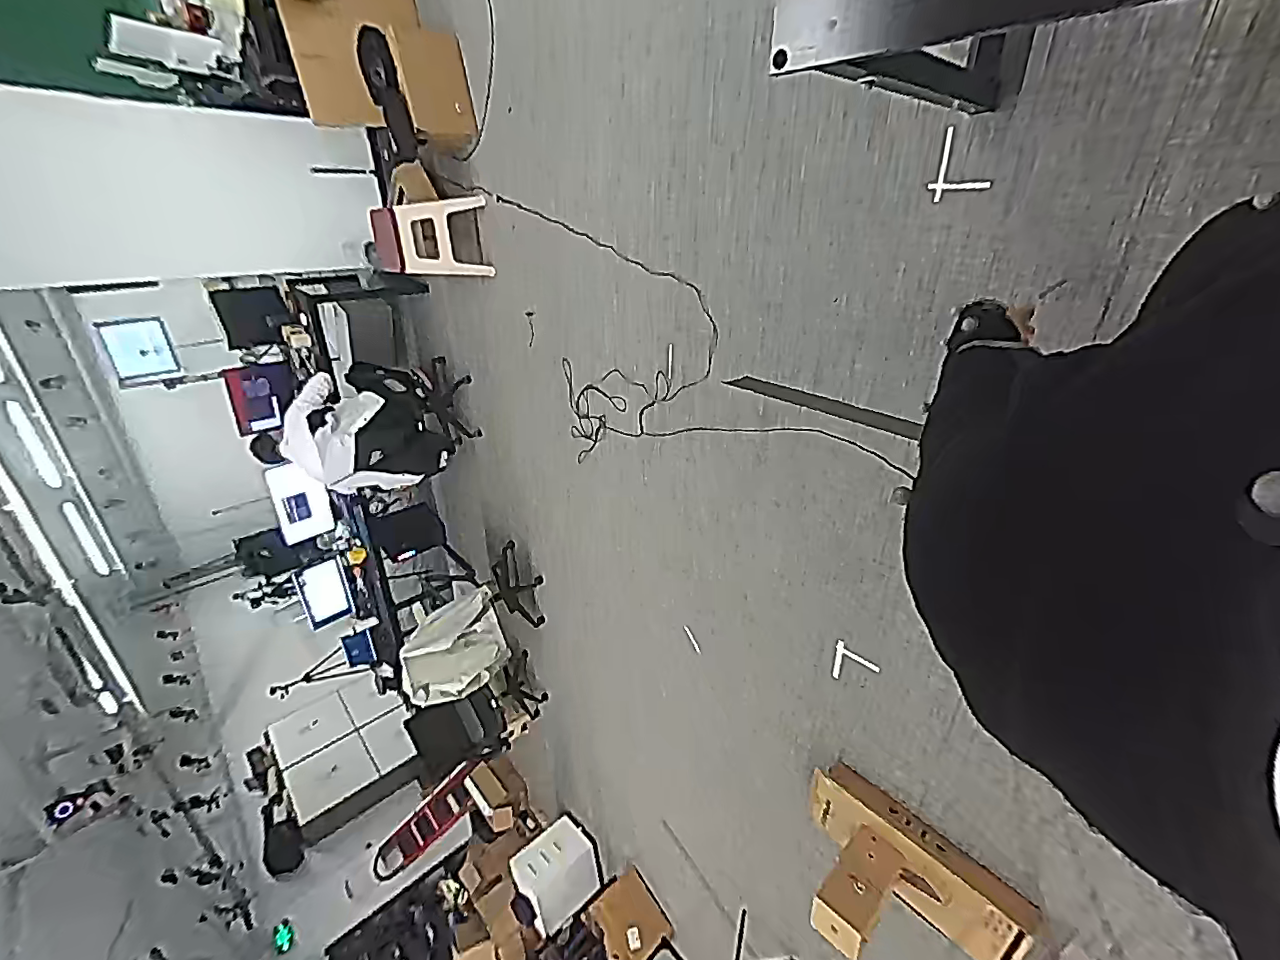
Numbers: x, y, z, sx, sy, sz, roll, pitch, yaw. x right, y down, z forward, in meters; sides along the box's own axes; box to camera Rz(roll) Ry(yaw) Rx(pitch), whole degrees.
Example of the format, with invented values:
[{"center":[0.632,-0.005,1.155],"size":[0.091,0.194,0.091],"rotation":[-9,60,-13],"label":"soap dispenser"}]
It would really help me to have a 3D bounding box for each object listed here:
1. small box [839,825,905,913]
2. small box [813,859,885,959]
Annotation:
[{"center":[0.815,1.383,1.918],"size":[0.168,0.176,0.179],"rotation":[24,125,42],"label":"small box"},{"center":[0.701,1.438,1.815],"size":[0.168,0.176,0.179],"rotation":[20,123,43],"label":"small box"}]
